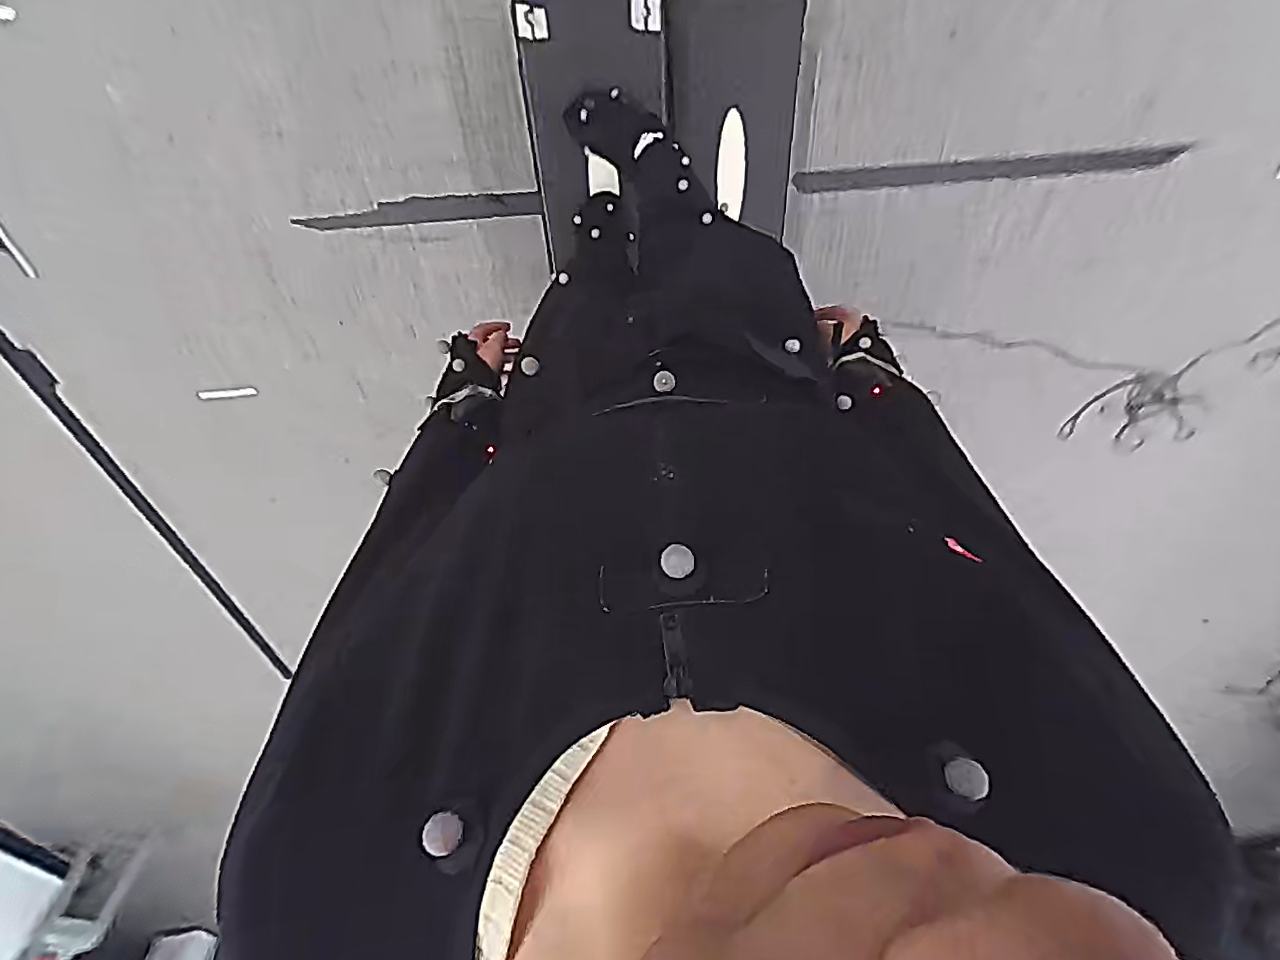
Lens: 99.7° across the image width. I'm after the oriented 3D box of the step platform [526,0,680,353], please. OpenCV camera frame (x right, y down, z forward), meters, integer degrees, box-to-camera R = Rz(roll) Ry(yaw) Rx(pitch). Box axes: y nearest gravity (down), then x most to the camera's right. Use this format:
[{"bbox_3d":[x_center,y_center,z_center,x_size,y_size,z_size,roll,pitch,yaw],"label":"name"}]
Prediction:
[{"bbox_3d":[-0.074,-0.629,1.197,0.286,0.204,0.684,-3,125,-5],"label":"step platform"}]
